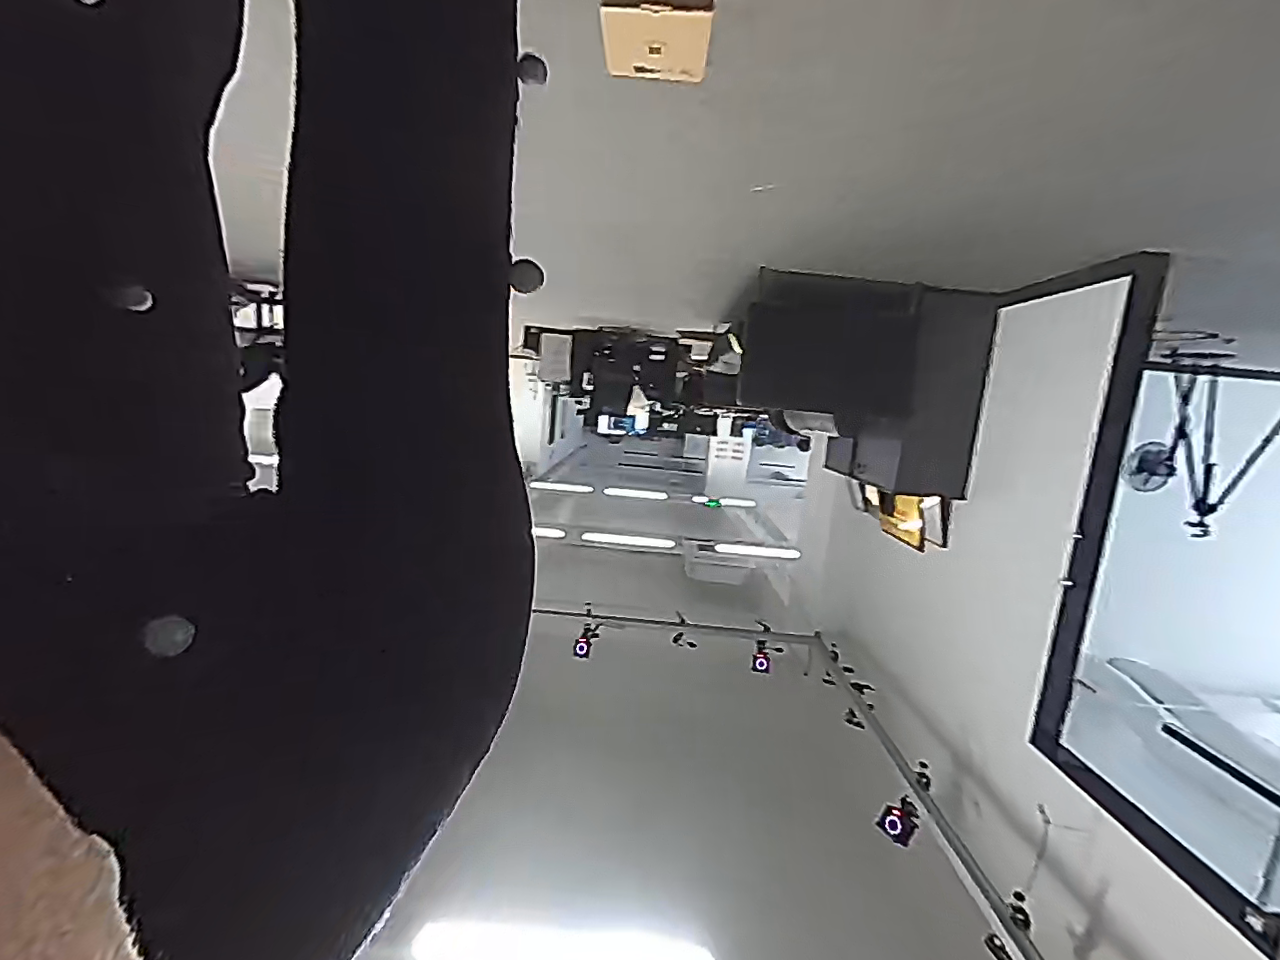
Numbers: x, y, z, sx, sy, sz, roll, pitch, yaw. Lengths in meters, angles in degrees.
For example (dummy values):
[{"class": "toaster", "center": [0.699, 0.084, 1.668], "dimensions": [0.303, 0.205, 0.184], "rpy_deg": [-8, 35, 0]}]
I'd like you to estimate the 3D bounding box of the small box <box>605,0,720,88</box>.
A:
[{"class": "small box", "center": [0.035, -0.752, 0.835], "dimensions": [0.168, 0.176, 0.179], "rpy_deg": [5, -172, -1]}]
